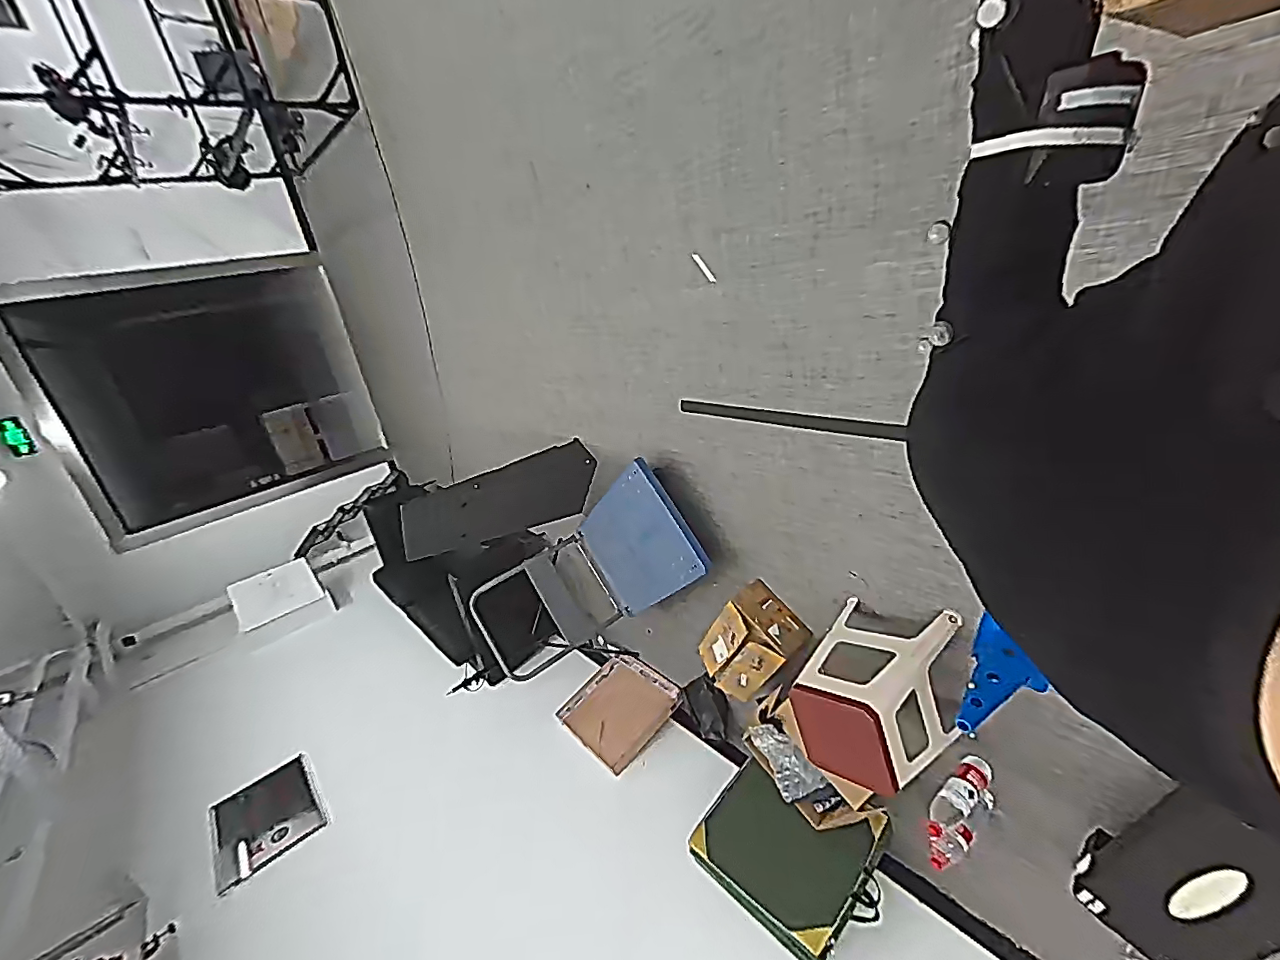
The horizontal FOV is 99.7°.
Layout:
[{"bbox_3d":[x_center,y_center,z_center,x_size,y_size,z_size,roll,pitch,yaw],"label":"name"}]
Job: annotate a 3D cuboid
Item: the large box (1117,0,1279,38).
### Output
[{"bbox_3d":[0.494,-0.459,0.220,0.408,0.320,0.320,12,124,46],"label":"large box"}]
